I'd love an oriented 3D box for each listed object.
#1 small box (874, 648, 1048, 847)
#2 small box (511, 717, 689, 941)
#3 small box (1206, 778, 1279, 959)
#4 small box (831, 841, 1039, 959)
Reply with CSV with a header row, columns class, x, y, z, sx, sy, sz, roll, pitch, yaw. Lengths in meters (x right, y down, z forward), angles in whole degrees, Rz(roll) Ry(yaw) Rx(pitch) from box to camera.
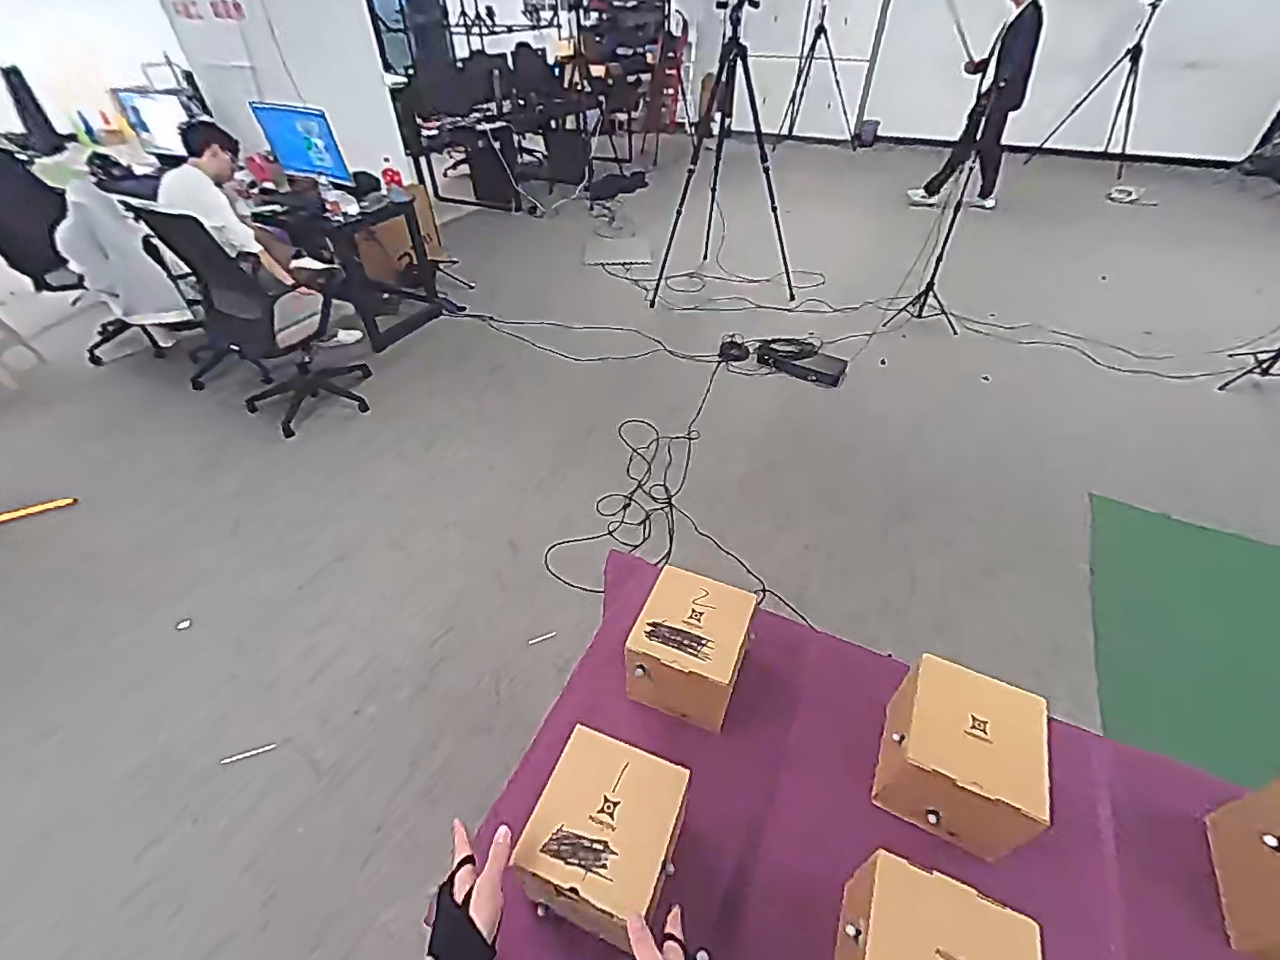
class,x,y,z,sx,sy,sz,roll,pitch,yaw
small box,0.458,0.387,0.787,0.168,0.176,0.179,19,47,19
small box,-0.043,0.456,0.708,0.168,0.176,0.179,16,43,16
small box,0.850,0.501,0.655,0.168,0.176,0.179,18,46,22
small box,0.315,0.556,0.603,0.168,0.176,0.179,18,45,19
